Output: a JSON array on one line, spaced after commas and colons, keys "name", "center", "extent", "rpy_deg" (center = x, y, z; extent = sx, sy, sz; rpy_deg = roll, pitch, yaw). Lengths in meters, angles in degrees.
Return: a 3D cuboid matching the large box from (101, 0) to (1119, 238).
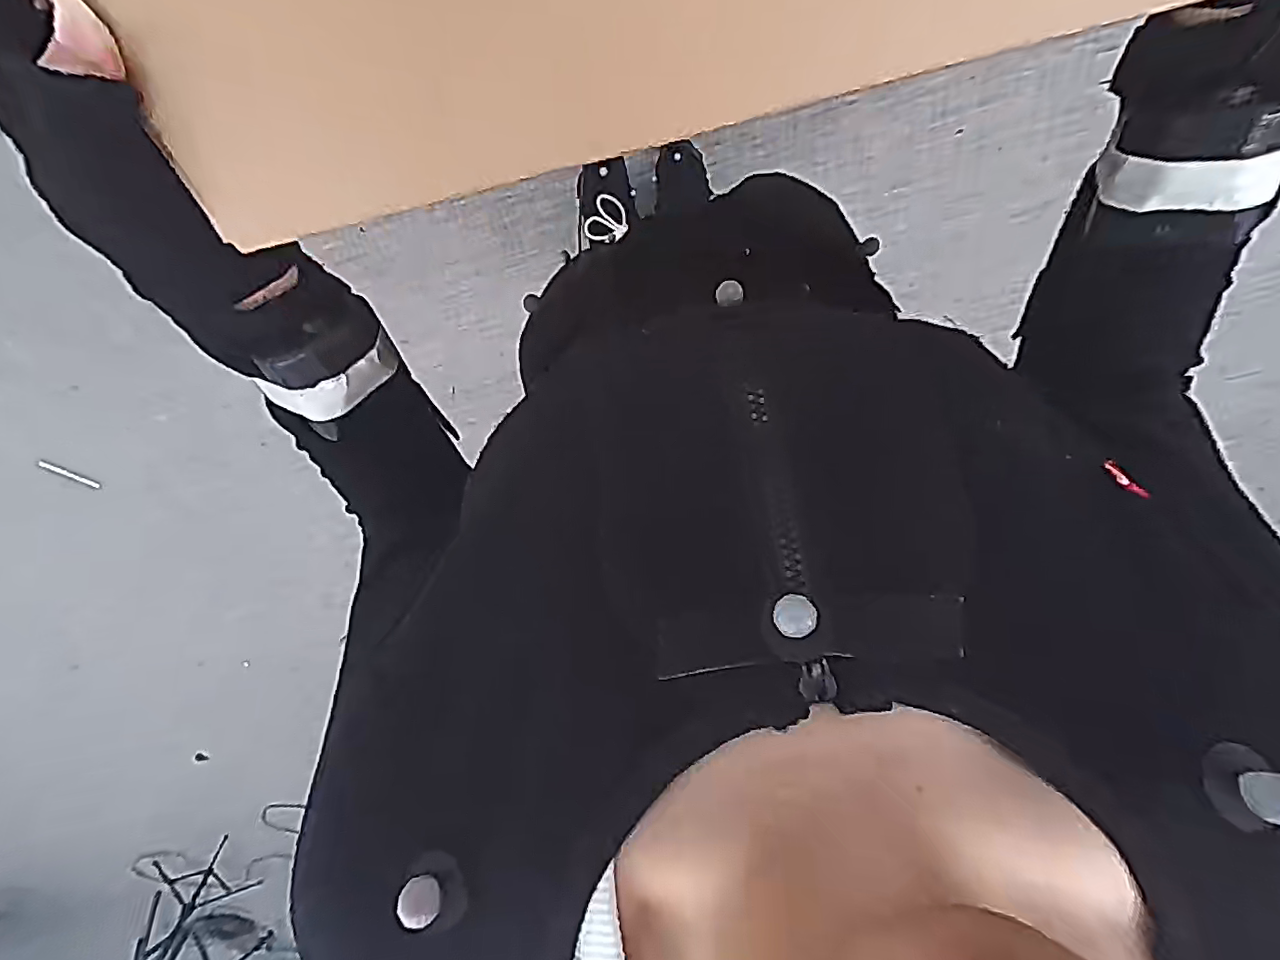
[{"name": "large box", "center": [-0.016, -0.353, 0.227], "extent": [0.408, 0.320, 0.320], "rpy_deg": [-12, 133, 6]}]
